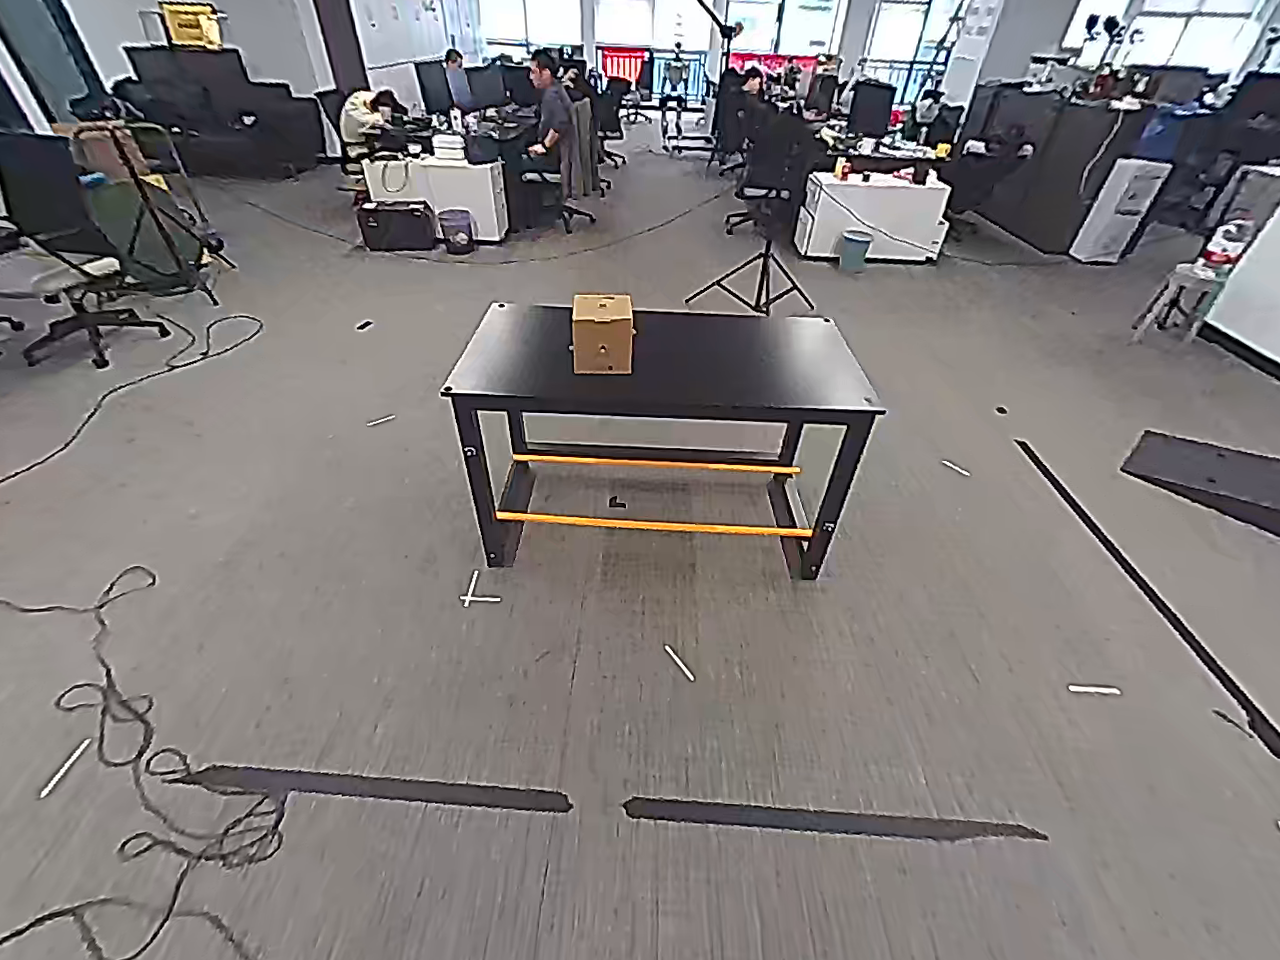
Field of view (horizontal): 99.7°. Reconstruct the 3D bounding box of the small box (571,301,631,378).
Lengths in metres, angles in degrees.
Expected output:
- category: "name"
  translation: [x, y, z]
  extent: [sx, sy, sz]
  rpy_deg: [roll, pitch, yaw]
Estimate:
- category: "small box"
  translation: [-0.111, -0.411, 1.590]
  extent: [0.168, 0.176, 0.179]
  rpy_deg: [-1, 40, -3]
